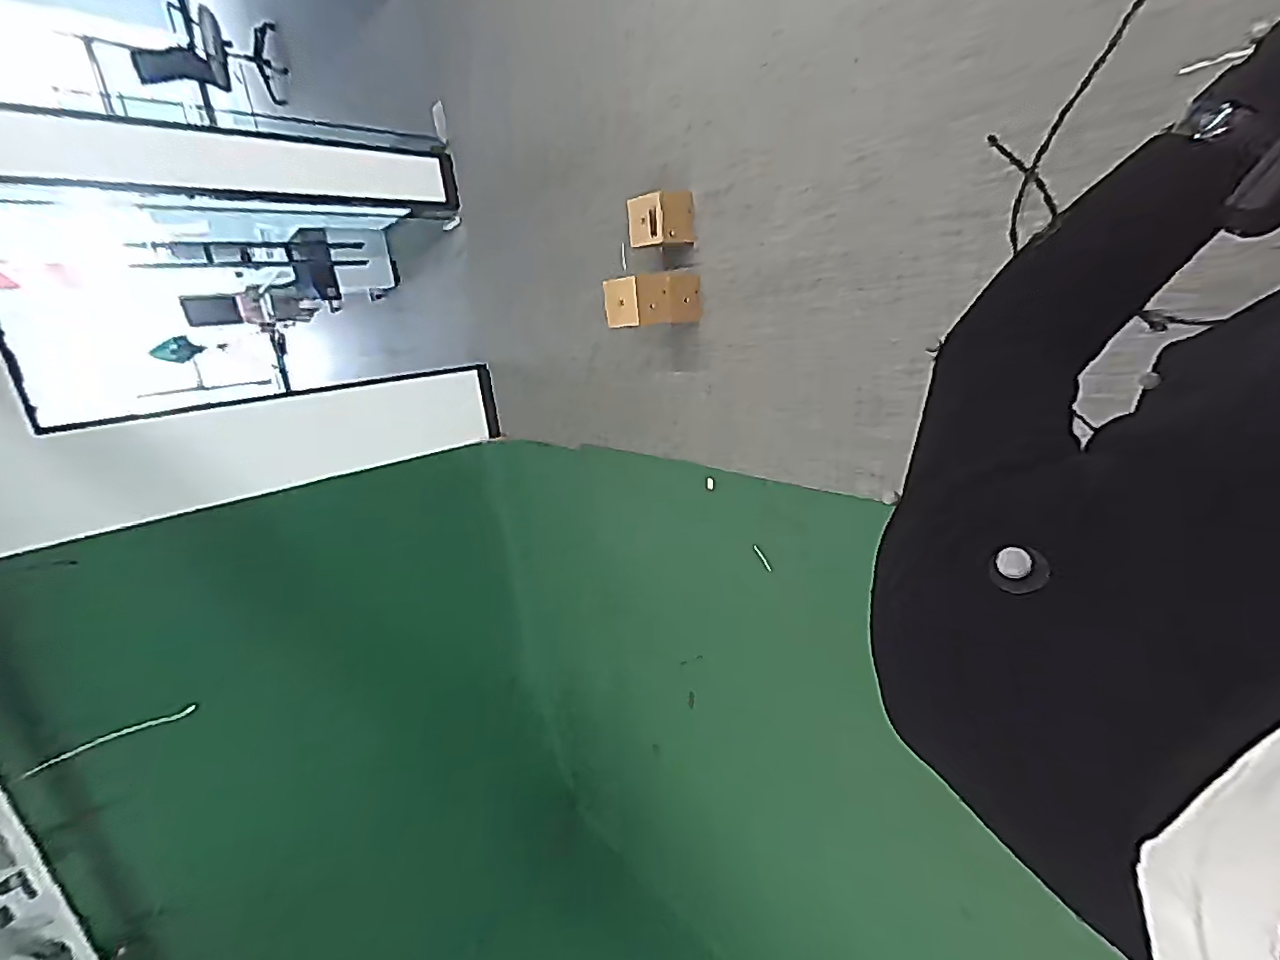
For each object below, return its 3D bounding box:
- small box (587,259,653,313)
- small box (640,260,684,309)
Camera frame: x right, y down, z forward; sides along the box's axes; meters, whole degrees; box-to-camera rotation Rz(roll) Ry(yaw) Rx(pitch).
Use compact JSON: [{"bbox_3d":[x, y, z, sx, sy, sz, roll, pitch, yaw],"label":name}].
[{"bbox_3d":[-0.064,-0.702,1.953,0.179,0.176,0.168,14,117,46],"label":"small box"},{"bbox_3d":[0.054,-0.745,2.056,0.179,0.176,0.168,17,118,45],"label":"small box"}]
